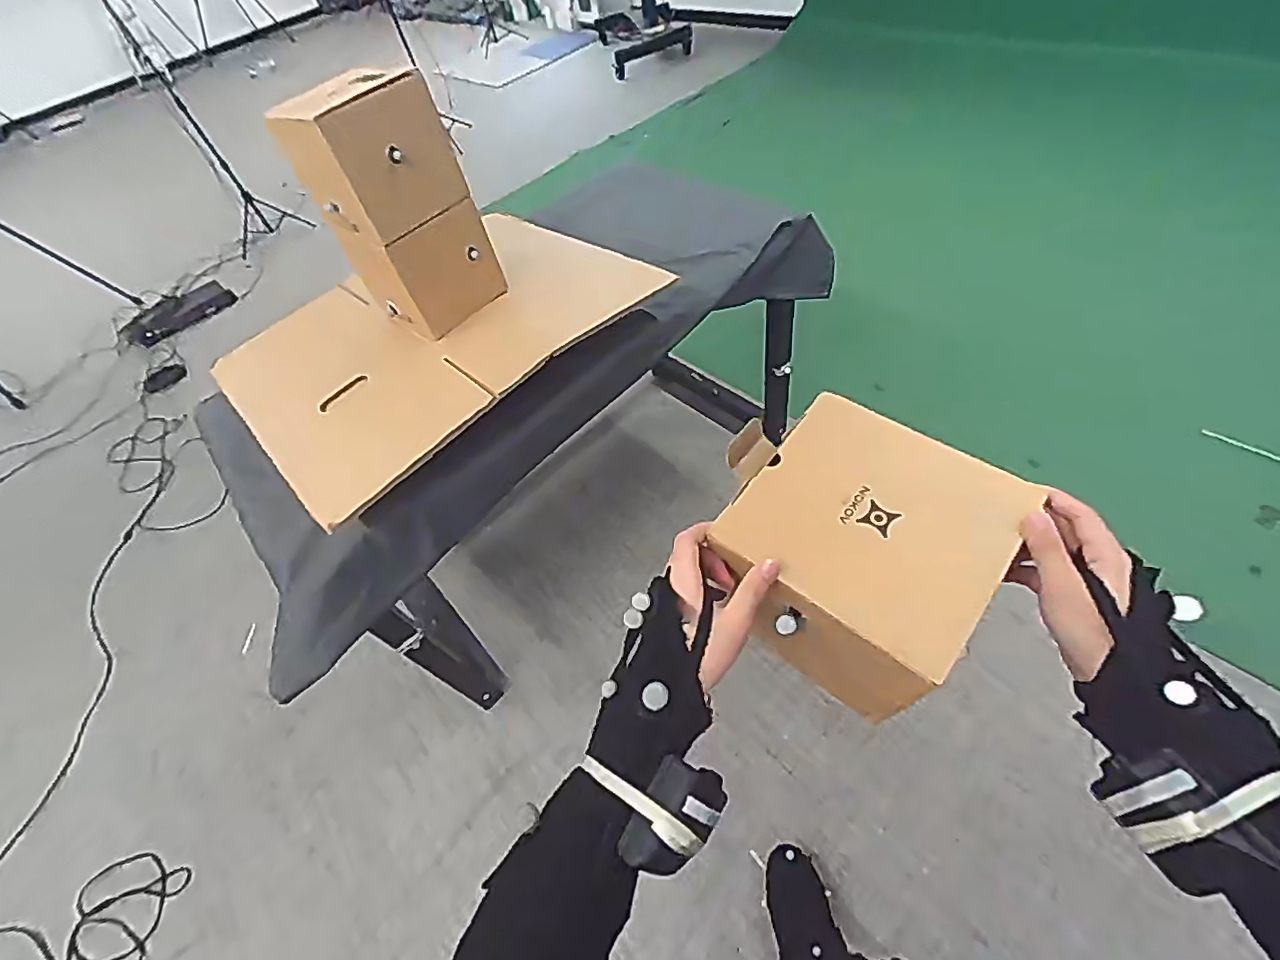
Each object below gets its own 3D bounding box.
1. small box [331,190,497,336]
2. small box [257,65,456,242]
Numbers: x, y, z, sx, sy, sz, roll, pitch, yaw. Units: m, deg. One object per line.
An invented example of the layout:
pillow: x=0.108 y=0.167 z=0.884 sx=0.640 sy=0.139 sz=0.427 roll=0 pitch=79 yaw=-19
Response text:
small box: x=-0.368 y=-0.377 z=0.921 sx=0.168 sy=0.176 sz=0.179 roll=26 pitch=62 yaw=31
small box: x=-0.399 y=-0.482 z=0.798 sx=0.168 sy=0.176 sz=0.179 roll=26 pitch=61 yaw=30
